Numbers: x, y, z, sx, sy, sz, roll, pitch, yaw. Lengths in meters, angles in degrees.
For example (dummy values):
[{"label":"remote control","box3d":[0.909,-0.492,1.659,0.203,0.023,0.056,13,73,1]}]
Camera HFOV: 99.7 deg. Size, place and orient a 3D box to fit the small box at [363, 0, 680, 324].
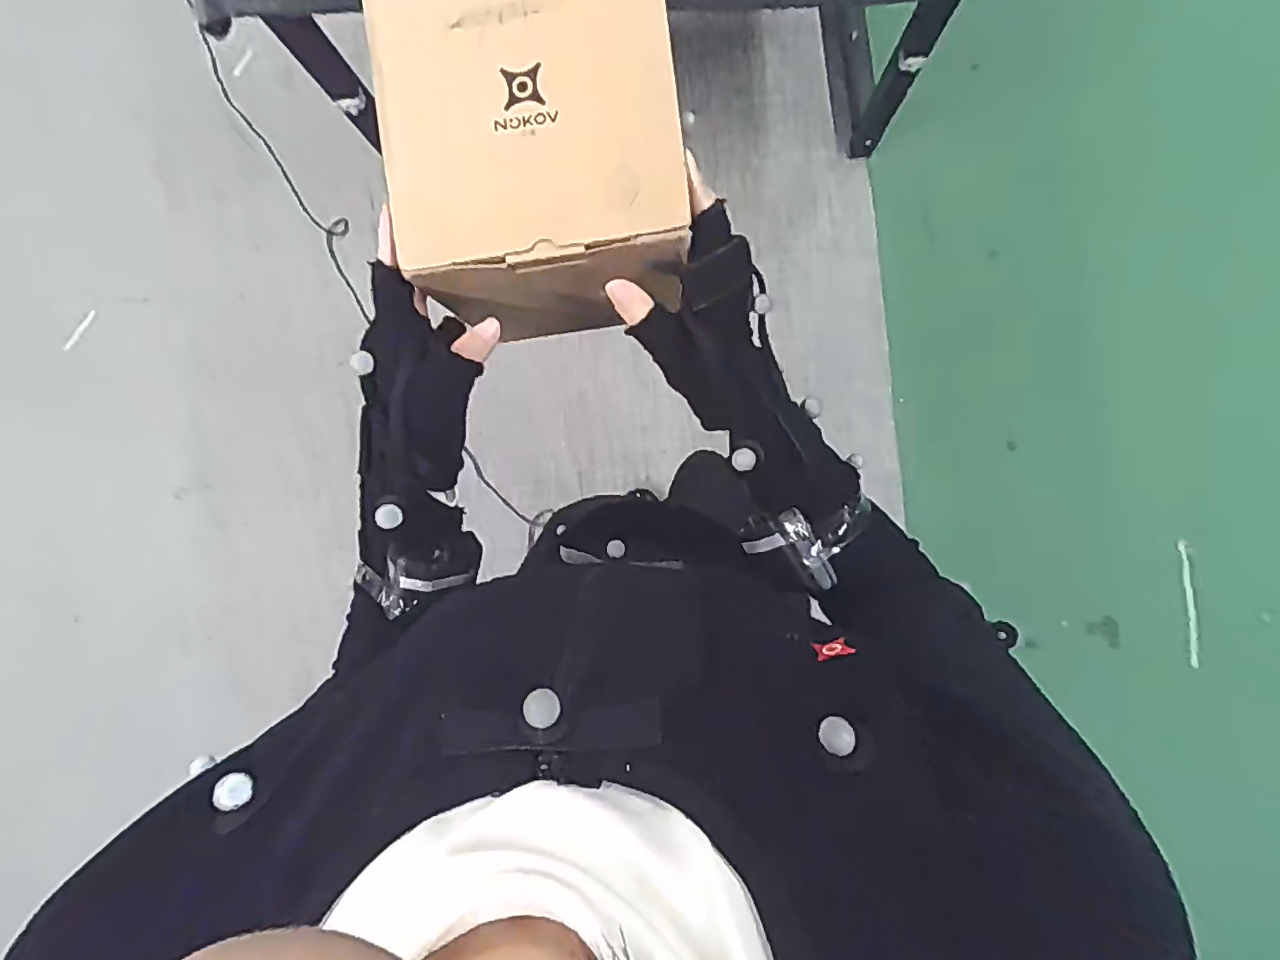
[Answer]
[{"label":"small box","box3d":[-0.062,-0.218,0.379,0.168,0.176,0.179,-7,90,2]}]
